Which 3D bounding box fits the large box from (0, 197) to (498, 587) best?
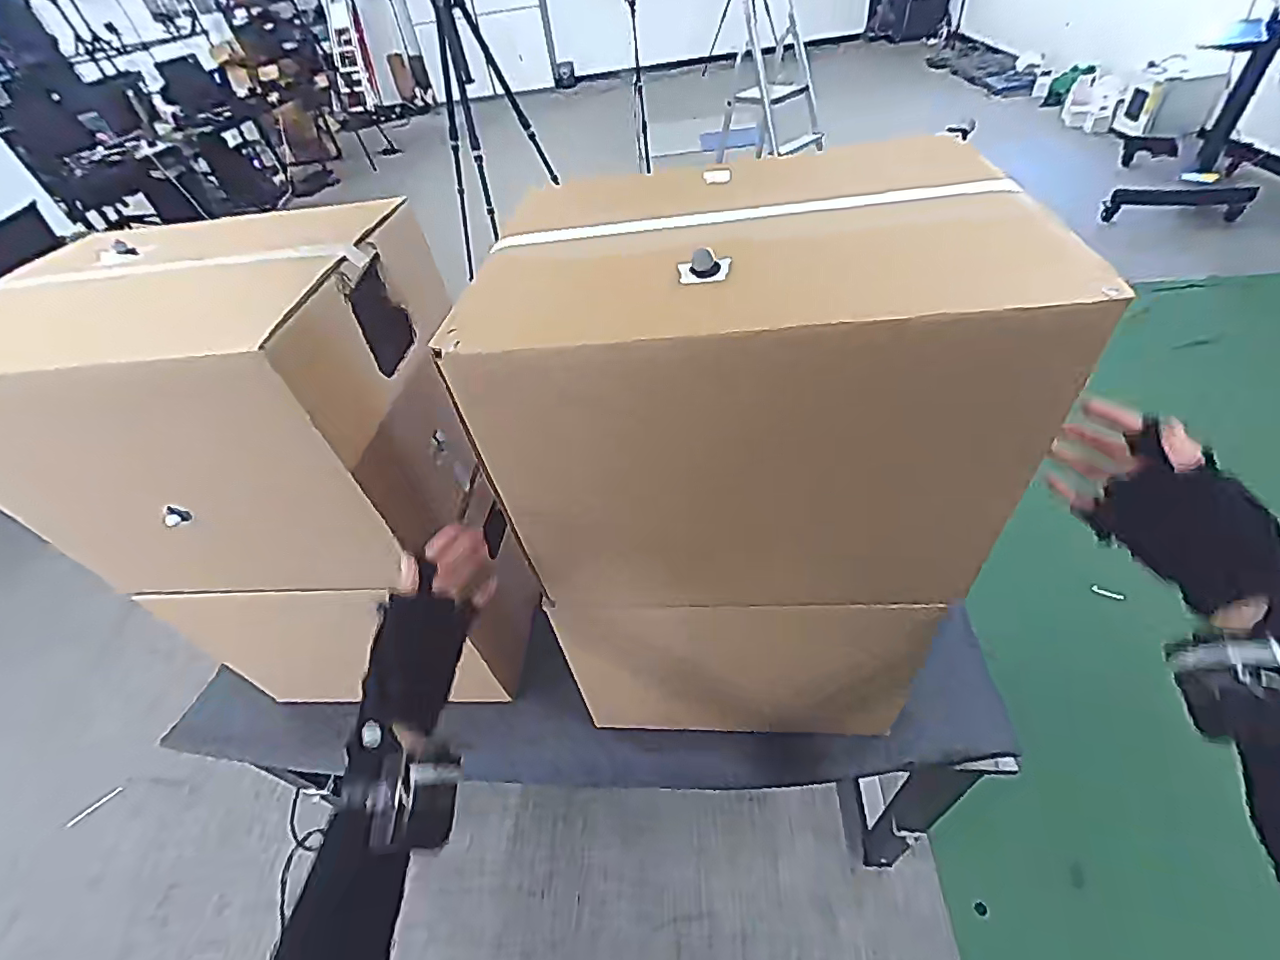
[{"bbox_3d":[-0.431,-0.090,0.633,0.408,0.320,0.320,-3,45,8],"label":"large box"}]
